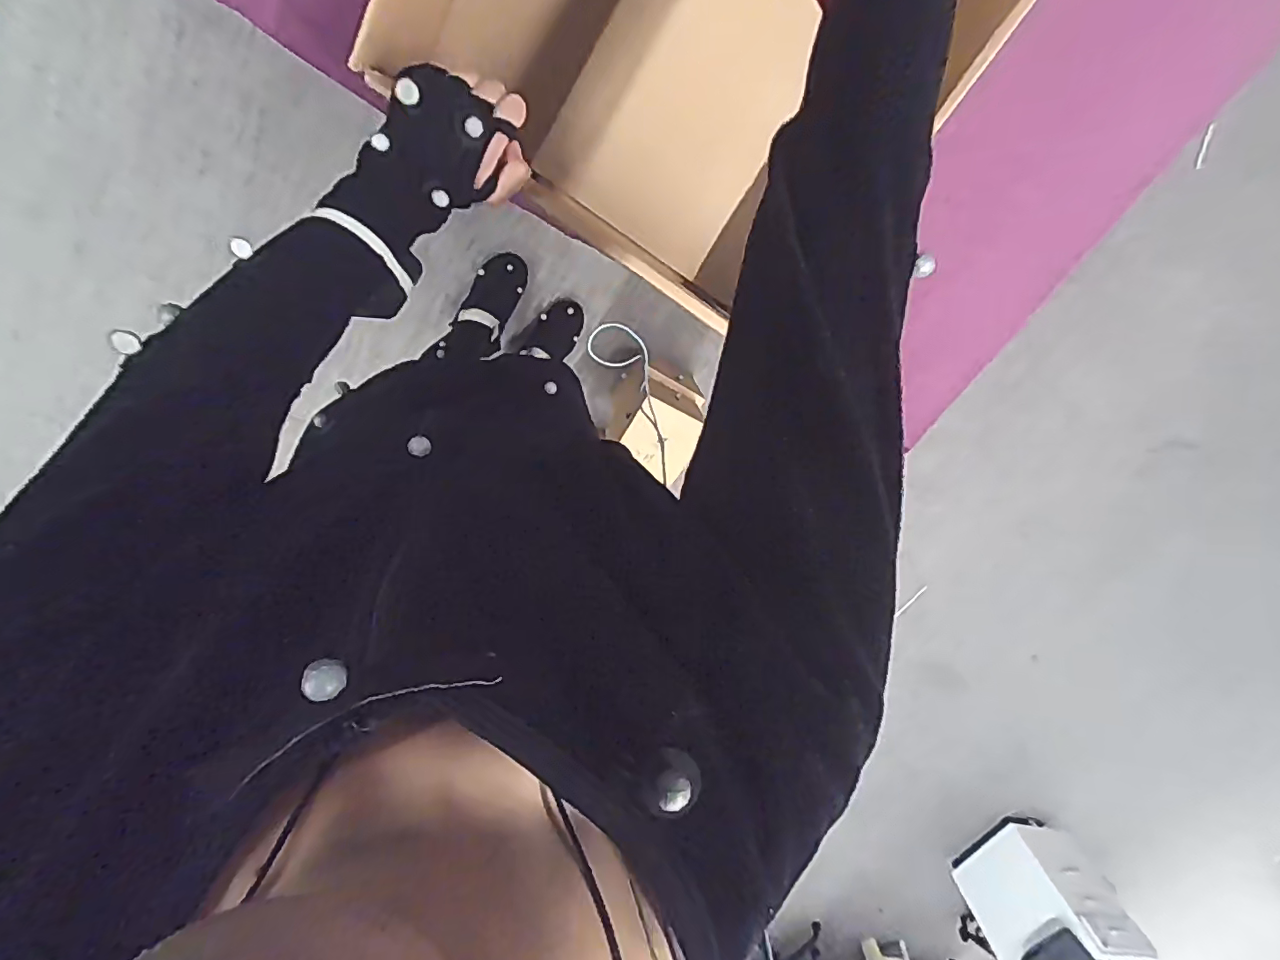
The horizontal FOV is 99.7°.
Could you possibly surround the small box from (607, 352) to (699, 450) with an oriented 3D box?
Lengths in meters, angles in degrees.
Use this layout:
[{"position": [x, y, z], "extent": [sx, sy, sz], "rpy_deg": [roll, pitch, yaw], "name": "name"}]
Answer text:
[{"position": [0.028, -0.214, 1.417], "extent": [0.179, 0.176, 0.168], "rpy_deg": [26, 112, -19], "name": "small box"}]
